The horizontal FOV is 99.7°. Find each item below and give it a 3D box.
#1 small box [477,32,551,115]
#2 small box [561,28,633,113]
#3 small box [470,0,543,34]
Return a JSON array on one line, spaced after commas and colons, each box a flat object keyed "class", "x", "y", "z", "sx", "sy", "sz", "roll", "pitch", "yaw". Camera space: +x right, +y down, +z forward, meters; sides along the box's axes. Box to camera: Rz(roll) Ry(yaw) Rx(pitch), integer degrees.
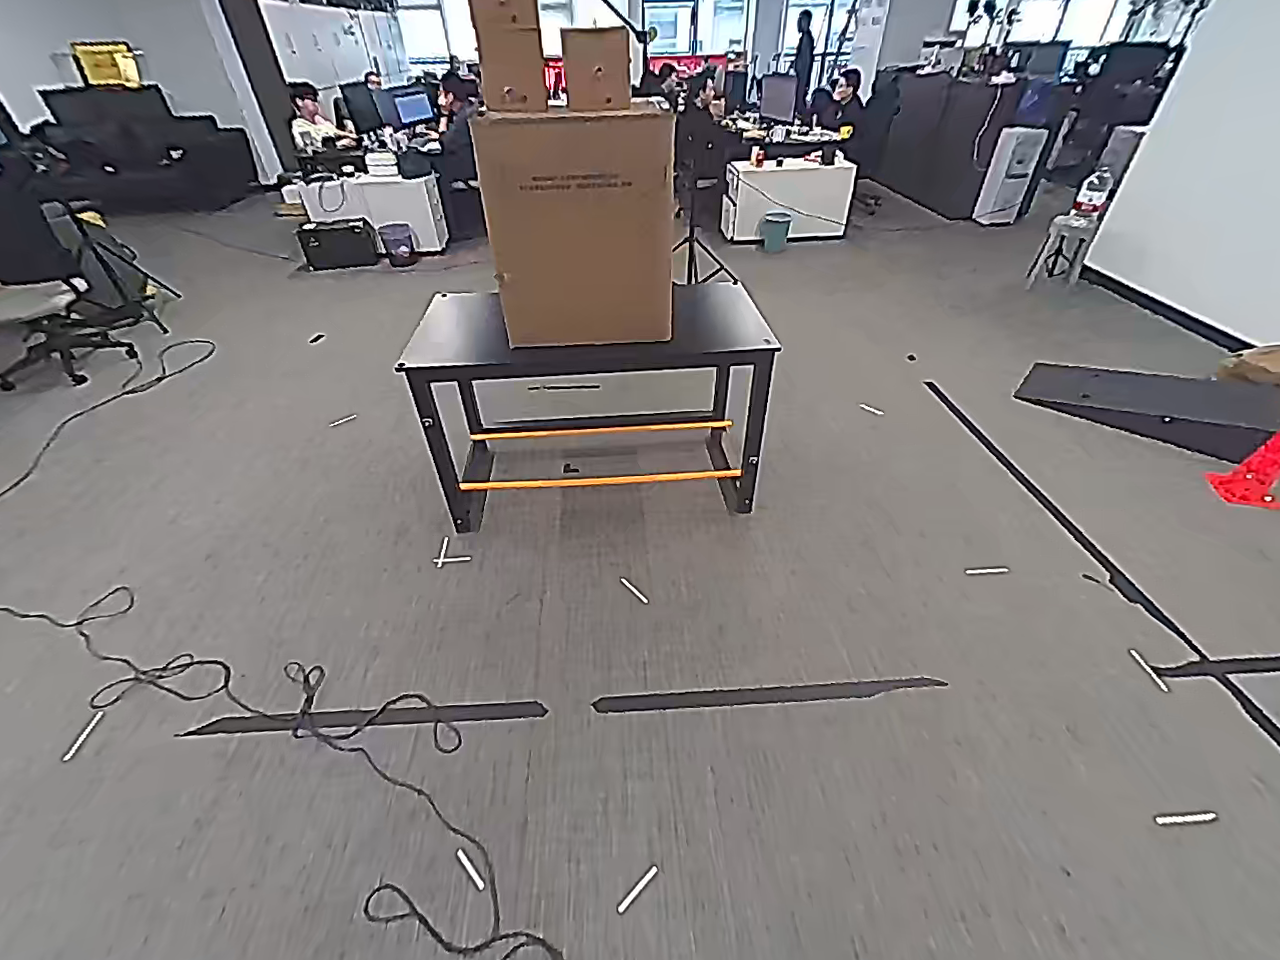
[{"class": "small box", "x": -0.331, "y": -1.088, "z": 1.445, "sx": 0.168, "sy": 0.176, "sz": 0.179, "roll": -7, "pitch": 41, "yaw": -7}, {"class": "small box", "x": -0.113, "y": -1.081, "z": 1.431, "sx": 0.168, "sy": 0.176, "sz": 0.179, "roll": -7, "pitch": 41, "yaw": -6}, {"class": "small box", "x": -0.335, "y": -1.213, "z": 1.338, "sx": 0.168, "sy": 0.176, "sz": 0.179, "roll": -5, "pitch": 40, "yaw": -5}]
